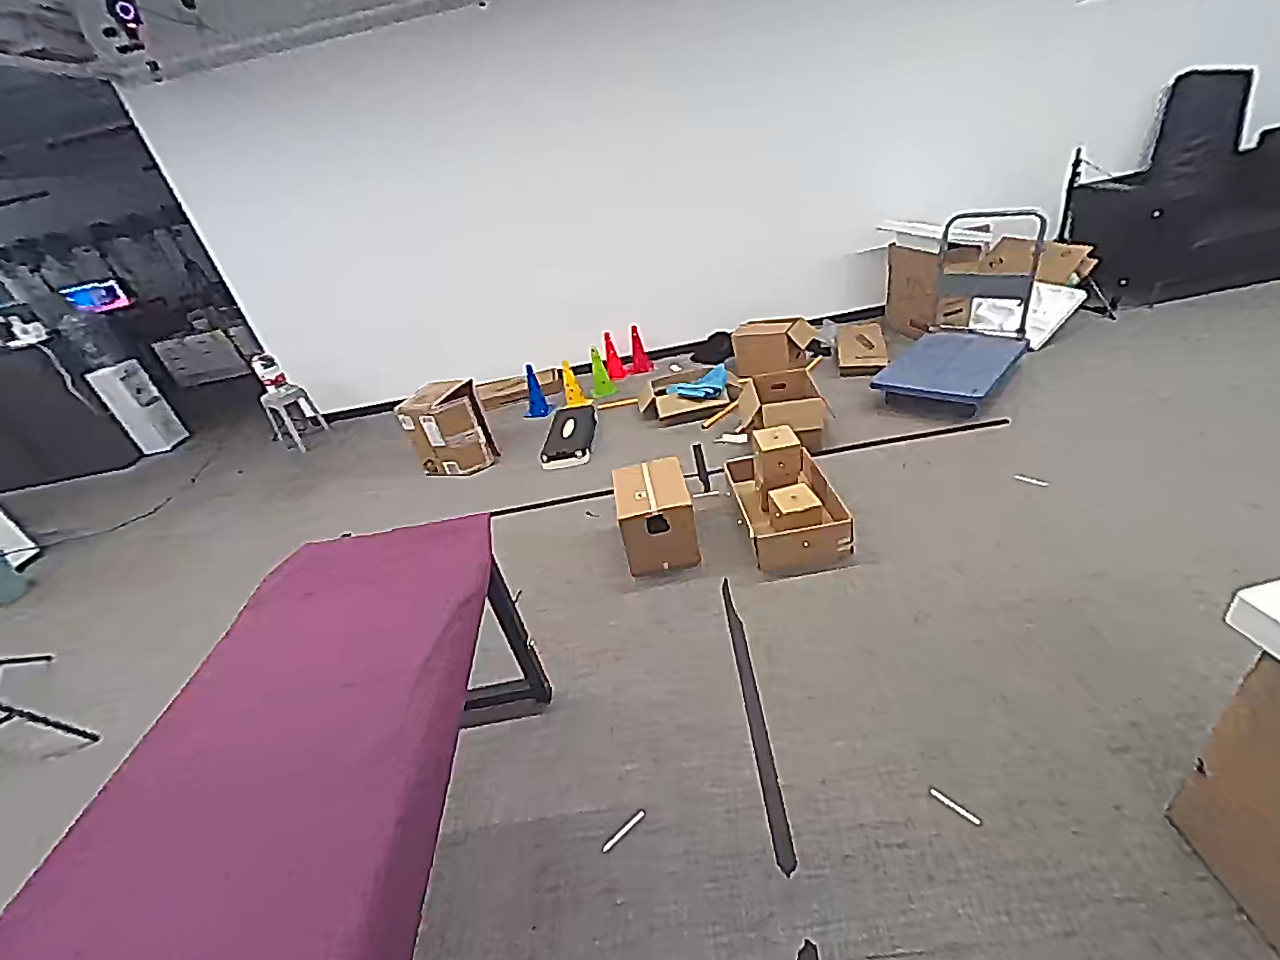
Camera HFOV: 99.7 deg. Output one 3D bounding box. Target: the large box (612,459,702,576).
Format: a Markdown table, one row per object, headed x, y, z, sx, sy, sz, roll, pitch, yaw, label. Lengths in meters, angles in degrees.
| x | y | z | sx | sy | sz | roll | pitch | yaw | label |
| --- | --- | --- | --- | --- | --- | --- | --- | --- | --- |
| 0.072 | 0.157 | 2.409 | 0.320 | 0.320 | 0.408 | -13 | 32 | 1 | large box |

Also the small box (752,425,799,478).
| x | y | z | sx | sy | sz | roll | pitch | yaw | label |
| --- | --- | --- | --- | --- | --- | --- | --- | --- | --- |
| 0.599 | -0.119 | 2.386 | 0.168 | 0.176 | 0.179 | -10 | 33 | 1 | small box |
